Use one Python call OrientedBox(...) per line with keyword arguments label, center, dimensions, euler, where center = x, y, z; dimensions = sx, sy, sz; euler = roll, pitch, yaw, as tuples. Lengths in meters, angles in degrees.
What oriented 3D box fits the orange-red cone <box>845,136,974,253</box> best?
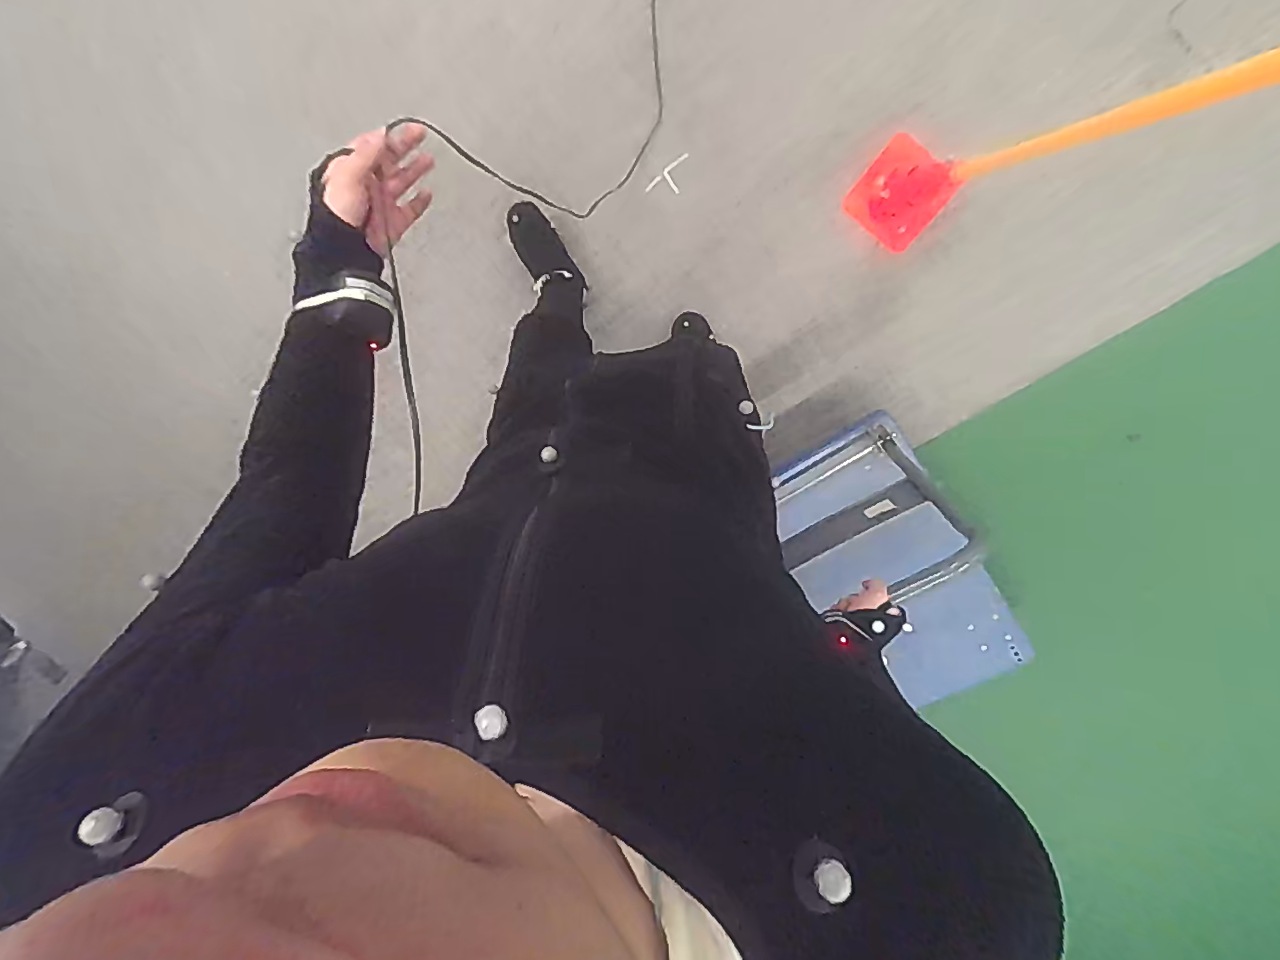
OrientedBox(label="orange-red cone", center=(0.604, -0.618, 1.137), dimensions=(0.198, 0.360, 0.199), euler=(38, 110, -9))
